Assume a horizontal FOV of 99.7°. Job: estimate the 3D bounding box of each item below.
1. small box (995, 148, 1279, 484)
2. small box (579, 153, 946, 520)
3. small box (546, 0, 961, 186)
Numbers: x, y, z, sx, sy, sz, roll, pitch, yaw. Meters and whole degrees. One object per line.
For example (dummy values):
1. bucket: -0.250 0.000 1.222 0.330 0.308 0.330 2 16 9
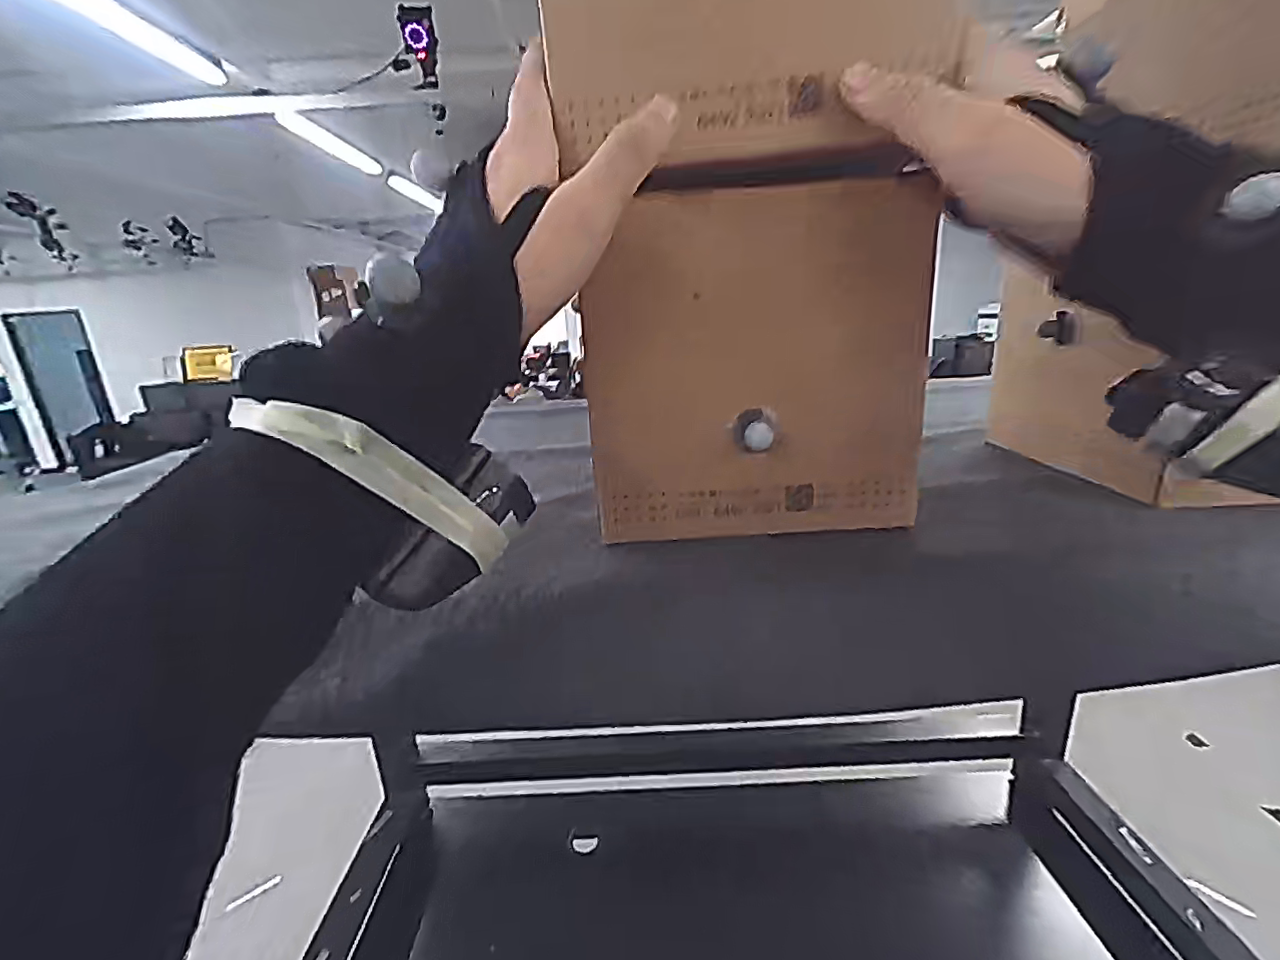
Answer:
1. small box: 0.358 -0.096 0.339 0.168 0.176 0.179 -2 15 5
2. small box: 0.058 -0.080 0.339 0.168 0.176 0.179 -4 15 1
3. small box: 0.044 -0.238 0.276 0.168 0.176 0.179 -4 15 3
